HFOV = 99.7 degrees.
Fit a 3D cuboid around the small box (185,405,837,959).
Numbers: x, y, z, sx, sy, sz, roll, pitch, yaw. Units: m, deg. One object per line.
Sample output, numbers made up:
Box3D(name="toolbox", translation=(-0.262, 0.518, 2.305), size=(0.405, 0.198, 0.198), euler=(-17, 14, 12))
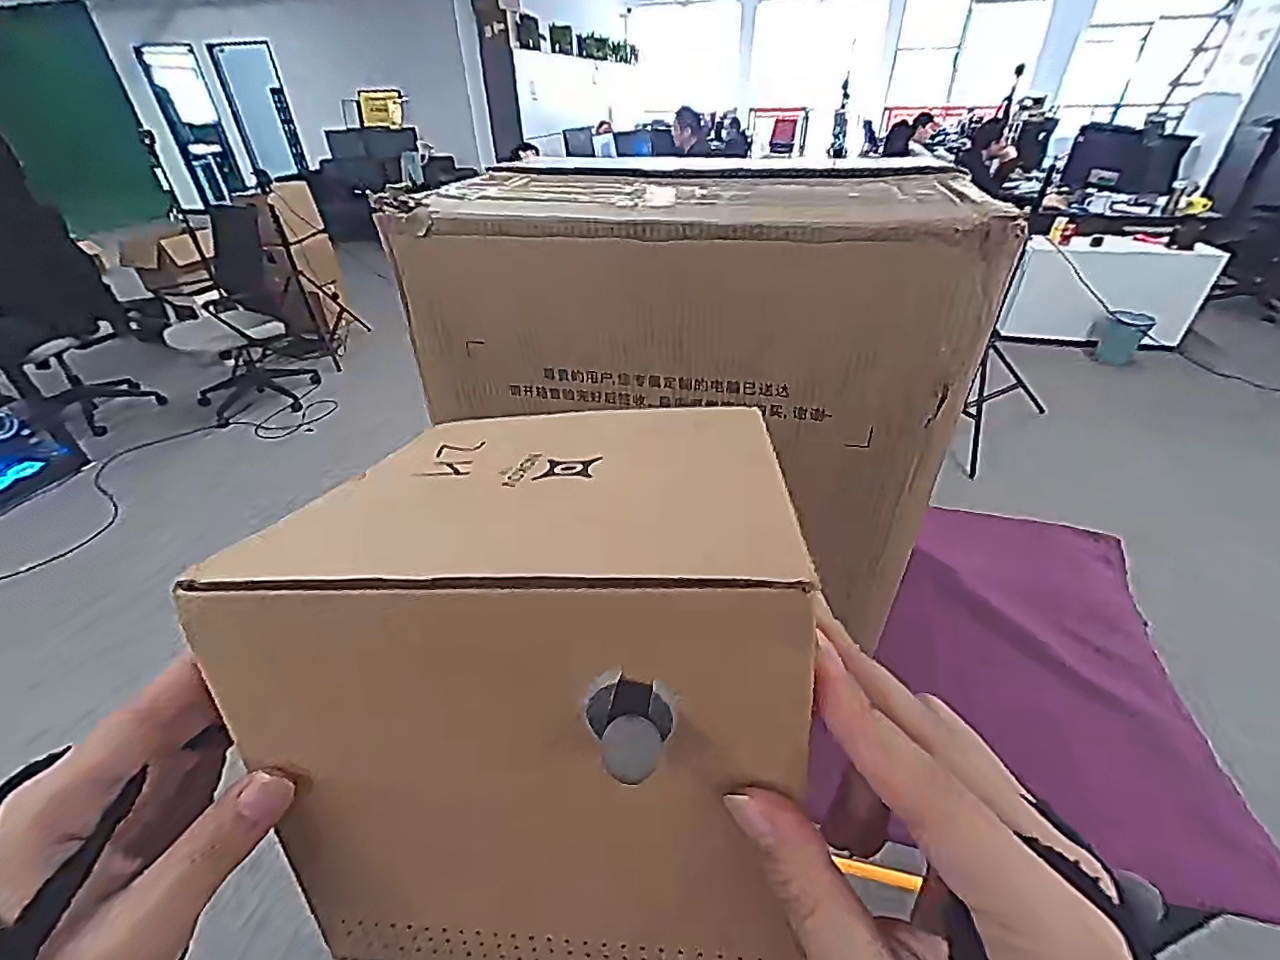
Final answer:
Box3D(name="small box", translation=(-0.023, 0.072, 0.236), size=(0.179, 0.176, 0.168), euler=(-3, 21, 9))
